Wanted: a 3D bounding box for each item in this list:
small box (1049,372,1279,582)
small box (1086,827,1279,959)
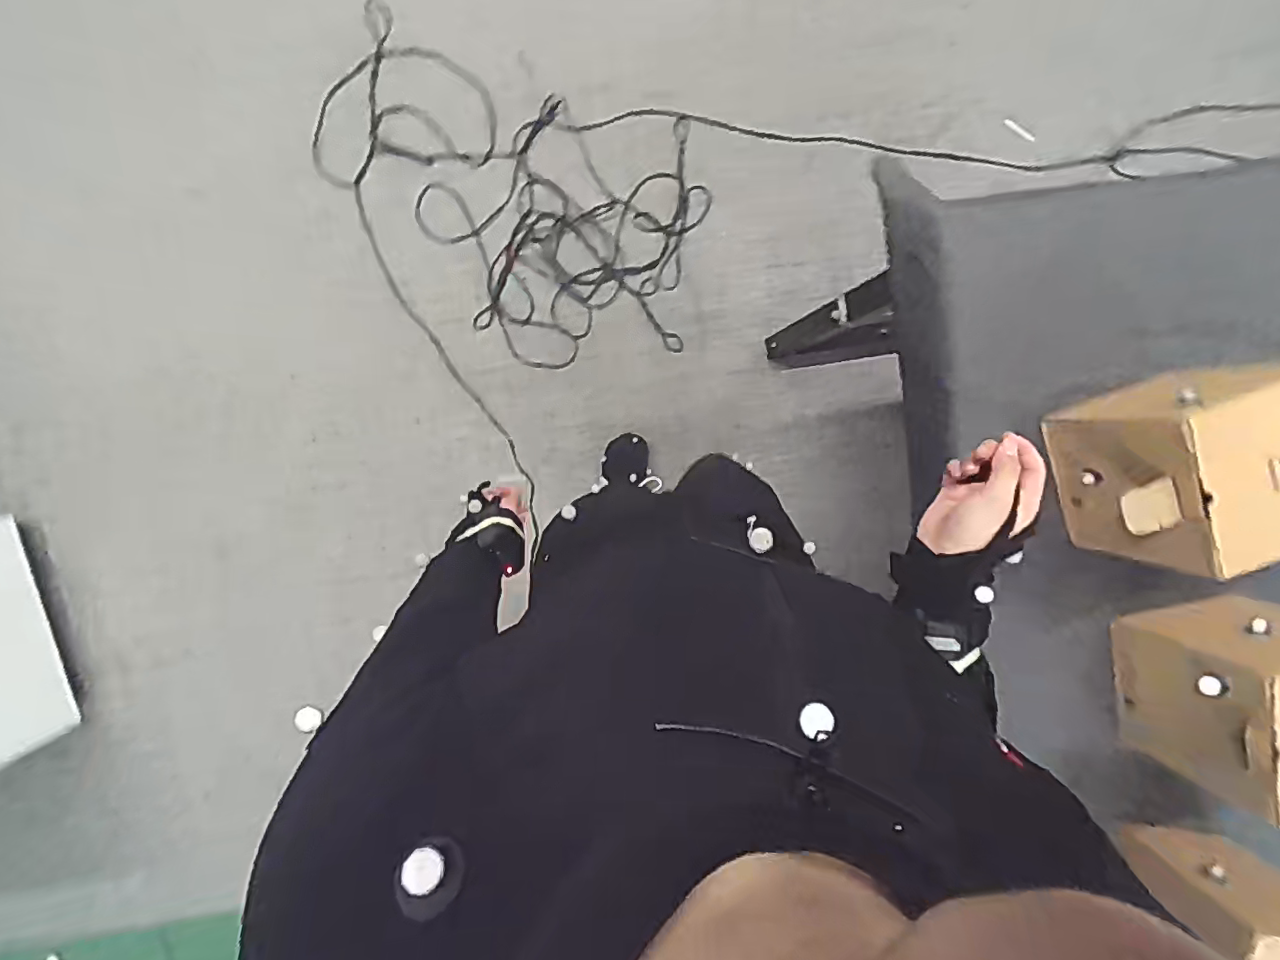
[{"bbox_3d":[0.604,-0.015,0.588,0.179,0.176,0.168,-20,97,-2],"label":"small box"},{"bbox_3d":[0.696,0.554,0.647,0.179,0.176,0.168,11,95,-6],"label":"small box"}]
